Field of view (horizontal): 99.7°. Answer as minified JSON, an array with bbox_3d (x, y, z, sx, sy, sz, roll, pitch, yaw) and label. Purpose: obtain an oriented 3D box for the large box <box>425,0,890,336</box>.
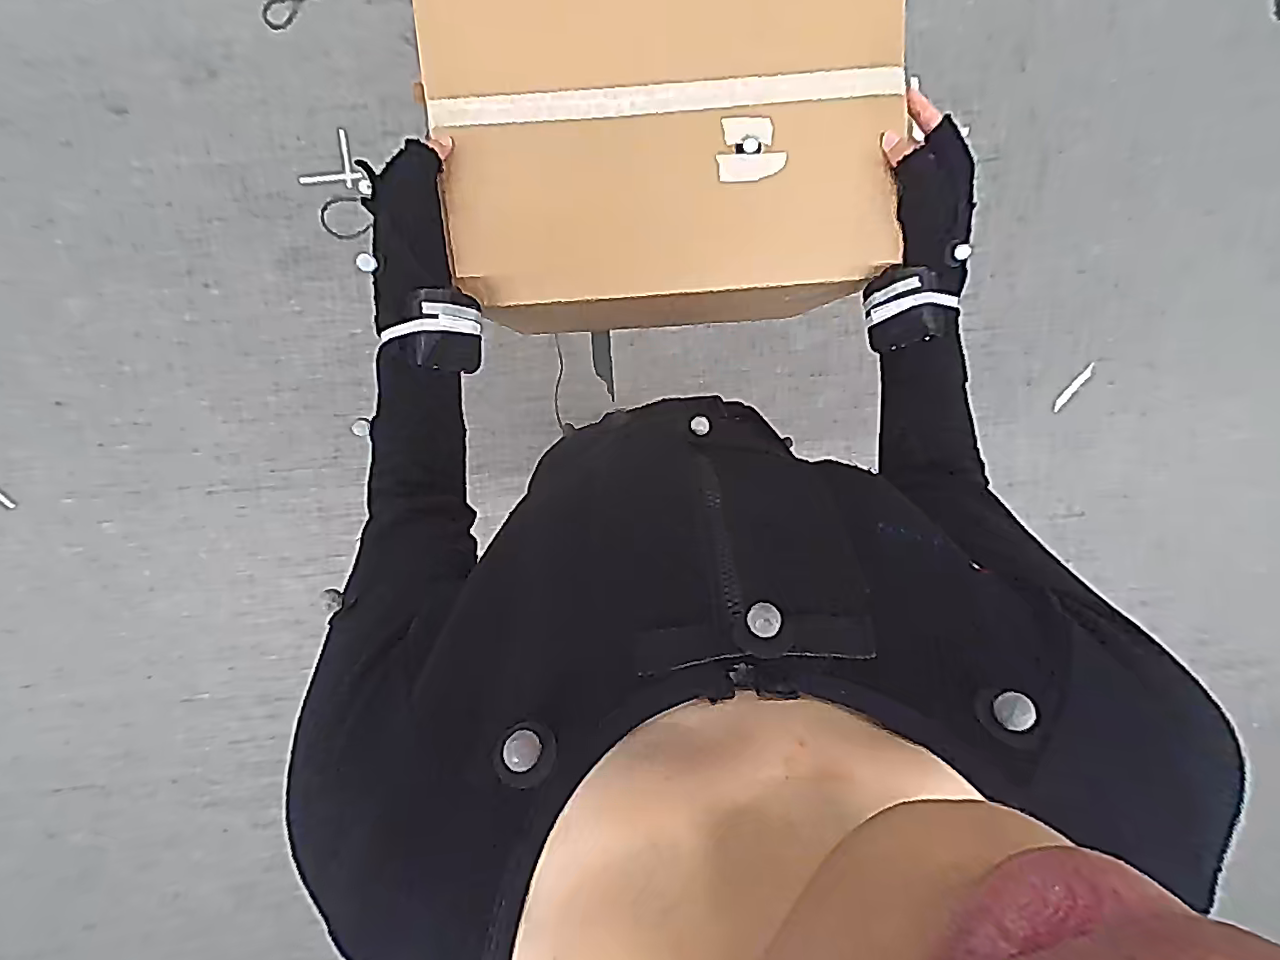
[{"bbox_3d":[0.017,-0.354,0.623,0.408,0.320,0.320,-5,101,-1],"label":"large box"}]
